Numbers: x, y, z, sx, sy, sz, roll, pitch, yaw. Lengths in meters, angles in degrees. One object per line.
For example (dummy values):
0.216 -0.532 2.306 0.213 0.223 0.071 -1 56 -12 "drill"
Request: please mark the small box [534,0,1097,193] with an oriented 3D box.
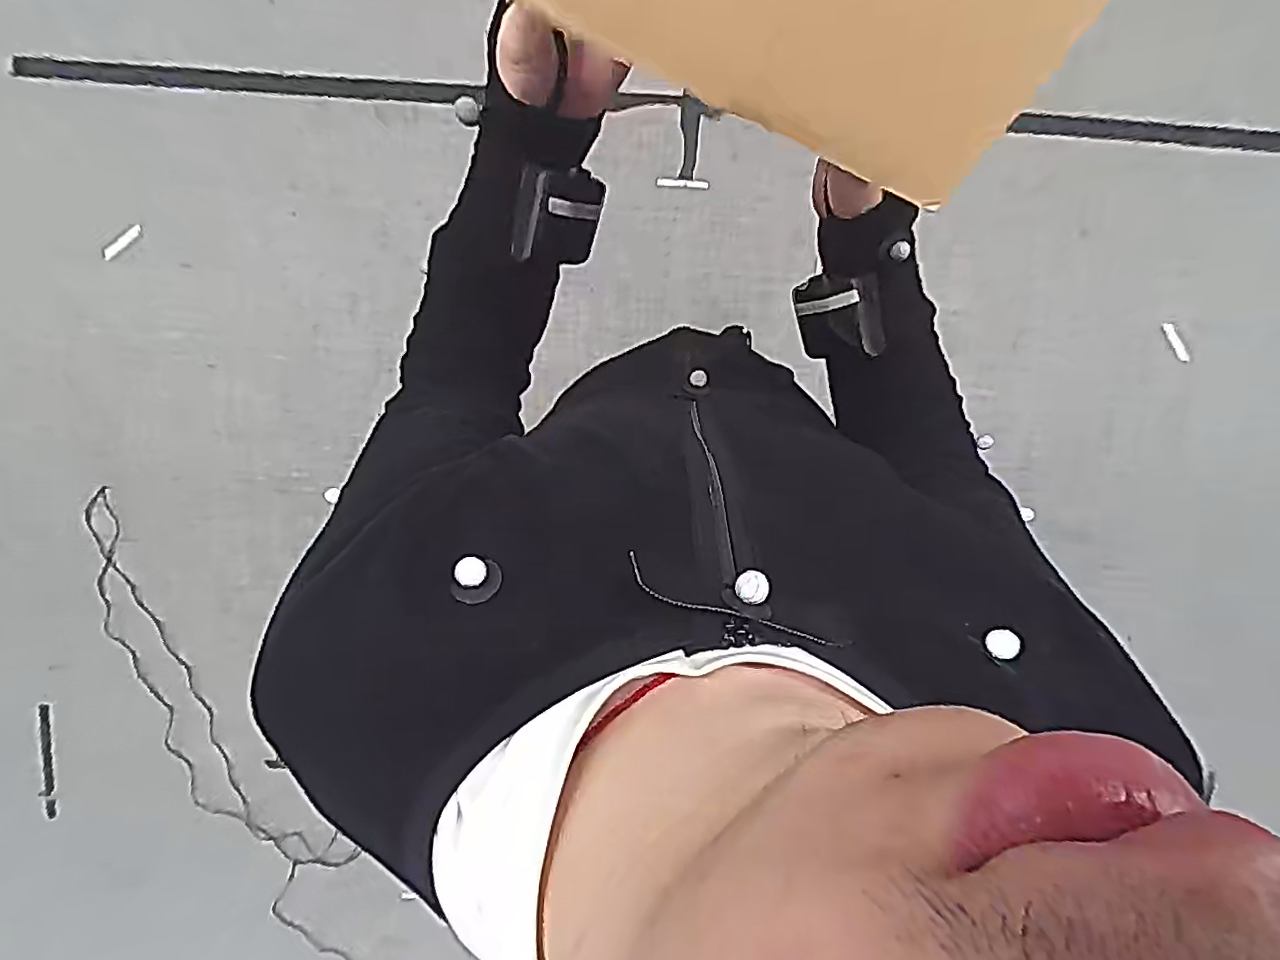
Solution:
0.072 -0.245 0.190 0.179 0.176 0.168 14 141 -14 "small box"
